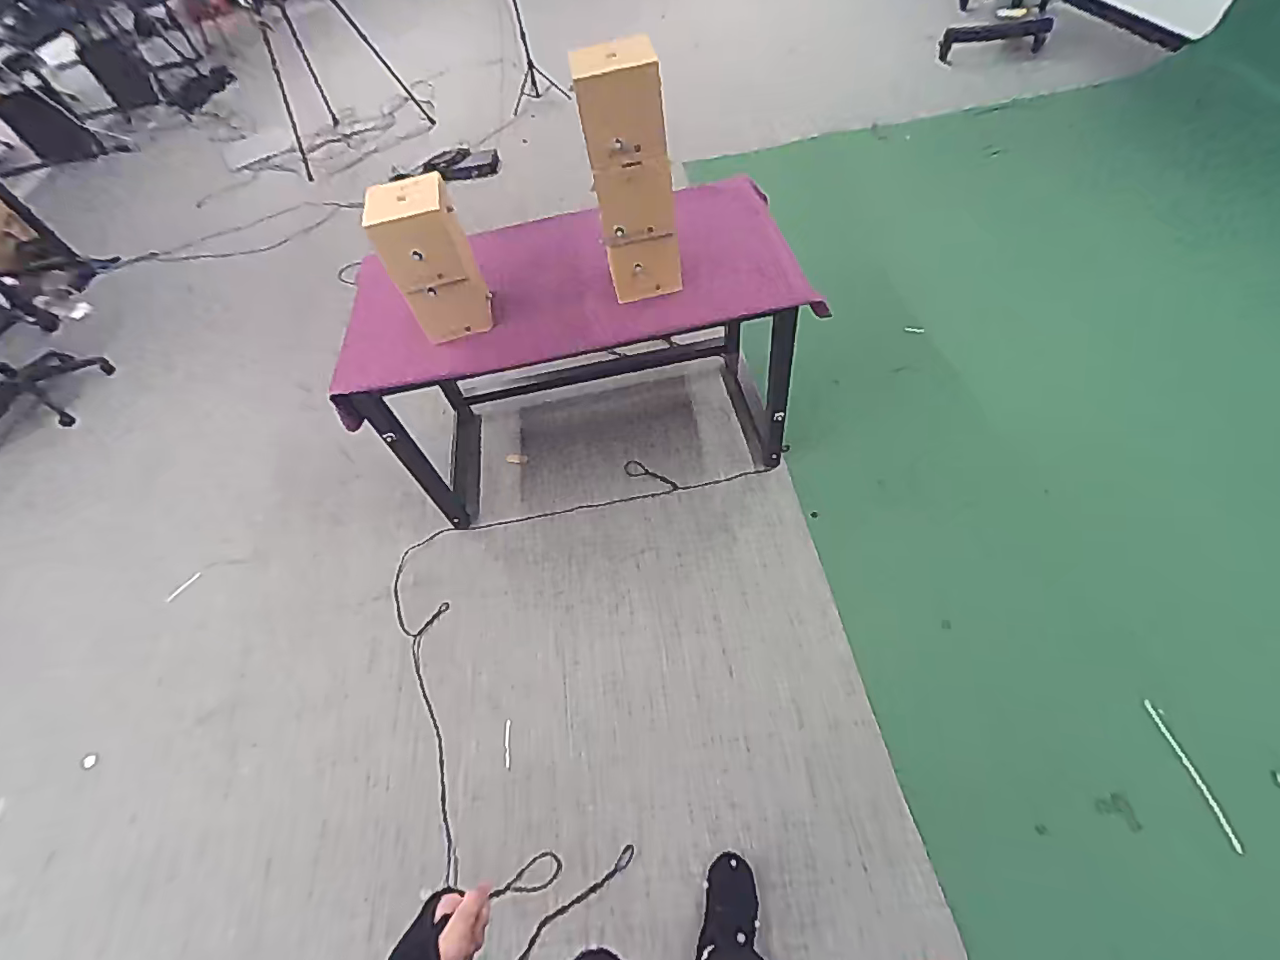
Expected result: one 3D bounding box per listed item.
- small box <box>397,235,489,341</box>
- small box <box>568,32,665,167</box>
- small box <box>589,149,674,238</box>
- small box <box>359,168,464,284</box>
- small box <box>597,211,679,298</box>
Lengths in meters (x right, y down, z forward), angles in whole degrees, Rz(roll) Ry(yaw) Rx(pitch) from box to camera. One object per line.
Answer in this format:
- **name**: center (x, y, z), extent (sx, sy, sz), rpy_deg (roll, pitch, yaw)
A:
- **small box**: center (-0.491, -0.483, 1.365), extent (0.168, 0.176, 0.179), rpy_deg (-16, 54, -2)
- **small box**: center (-0.046, -0.768, 1.096), extent (0.168, 0.176, 0.179), rpy_deg (-10, 53, 2)
- **small box**: center (-0.021, -0.667, 1.222), extent (0.168, 0.176, 0.179), rpy_deg (-11, 52, 1)
- **small box**: center (-0.507, -0.564, 1.221), extent (0.168, 0.176, 0.179), rpy_deg (-14, 54, -2)
- **small box**: center (-0.002, -0.577, 1.359), extent (0.168, 0.176, 0.179), rpy_deg (-13, 52, 0)
